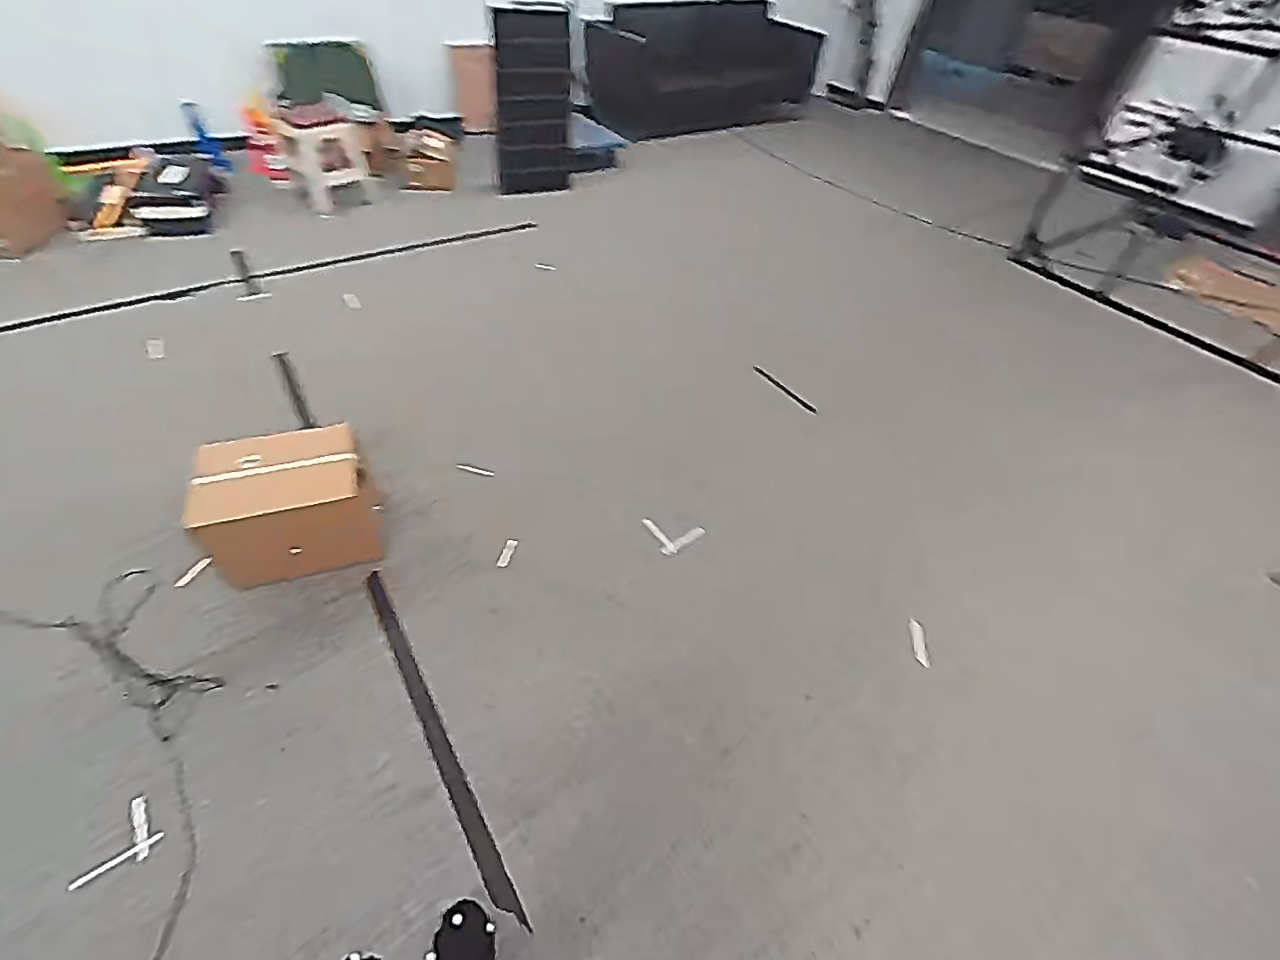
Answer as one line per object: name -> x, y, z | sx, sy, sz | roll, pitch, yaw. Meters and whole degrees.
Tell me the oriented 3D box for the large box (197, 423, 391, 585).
large box -> -1.014, 0.072, 1.640 | 0.408, 0.320, 0.320 | -12, 50, -17
